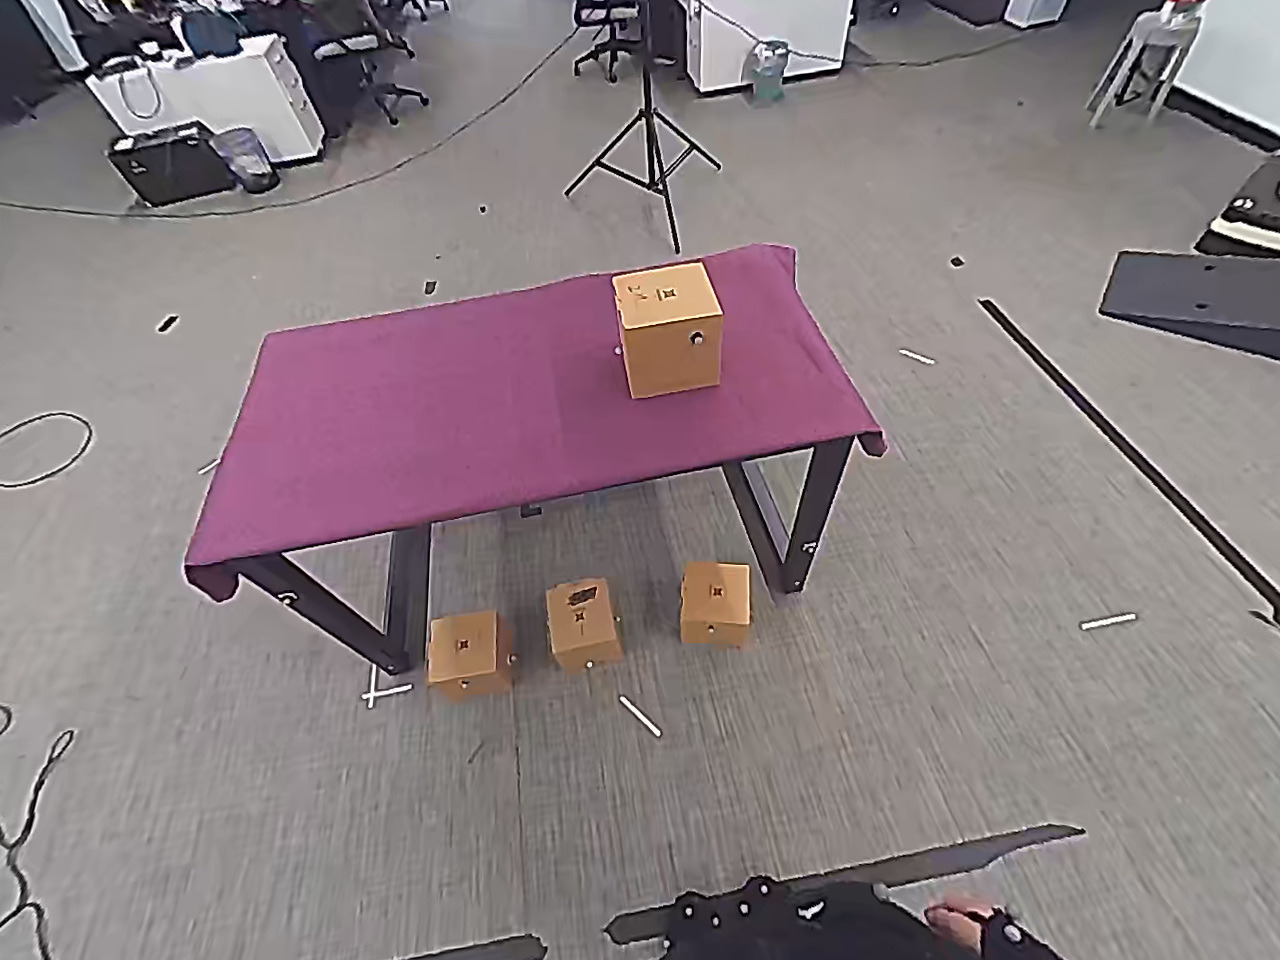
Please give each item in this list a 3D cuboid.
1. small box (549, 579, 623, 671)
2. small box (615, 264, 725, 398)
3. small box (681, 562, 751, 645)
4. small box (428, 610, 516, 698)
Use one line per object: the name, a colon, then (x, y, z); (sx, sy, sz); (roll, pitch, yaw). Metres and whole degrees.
small box: (-0.145, 0.394, 1.464); (0.168, 0.176, 0.179); (-12, 54, -3)
small box: (0.055, -0.280, 1.031); (0.179, 0.176, 0.168); (-10, 52, -1)
small box: (0.207, 0.339, 1.469); (0.179, 0.176, 0.168); (2, 55, 9)
small box: (-0.441, 0.469, 1.443); (0.179, 0.176, 0.168); (-9, 54, -2)
